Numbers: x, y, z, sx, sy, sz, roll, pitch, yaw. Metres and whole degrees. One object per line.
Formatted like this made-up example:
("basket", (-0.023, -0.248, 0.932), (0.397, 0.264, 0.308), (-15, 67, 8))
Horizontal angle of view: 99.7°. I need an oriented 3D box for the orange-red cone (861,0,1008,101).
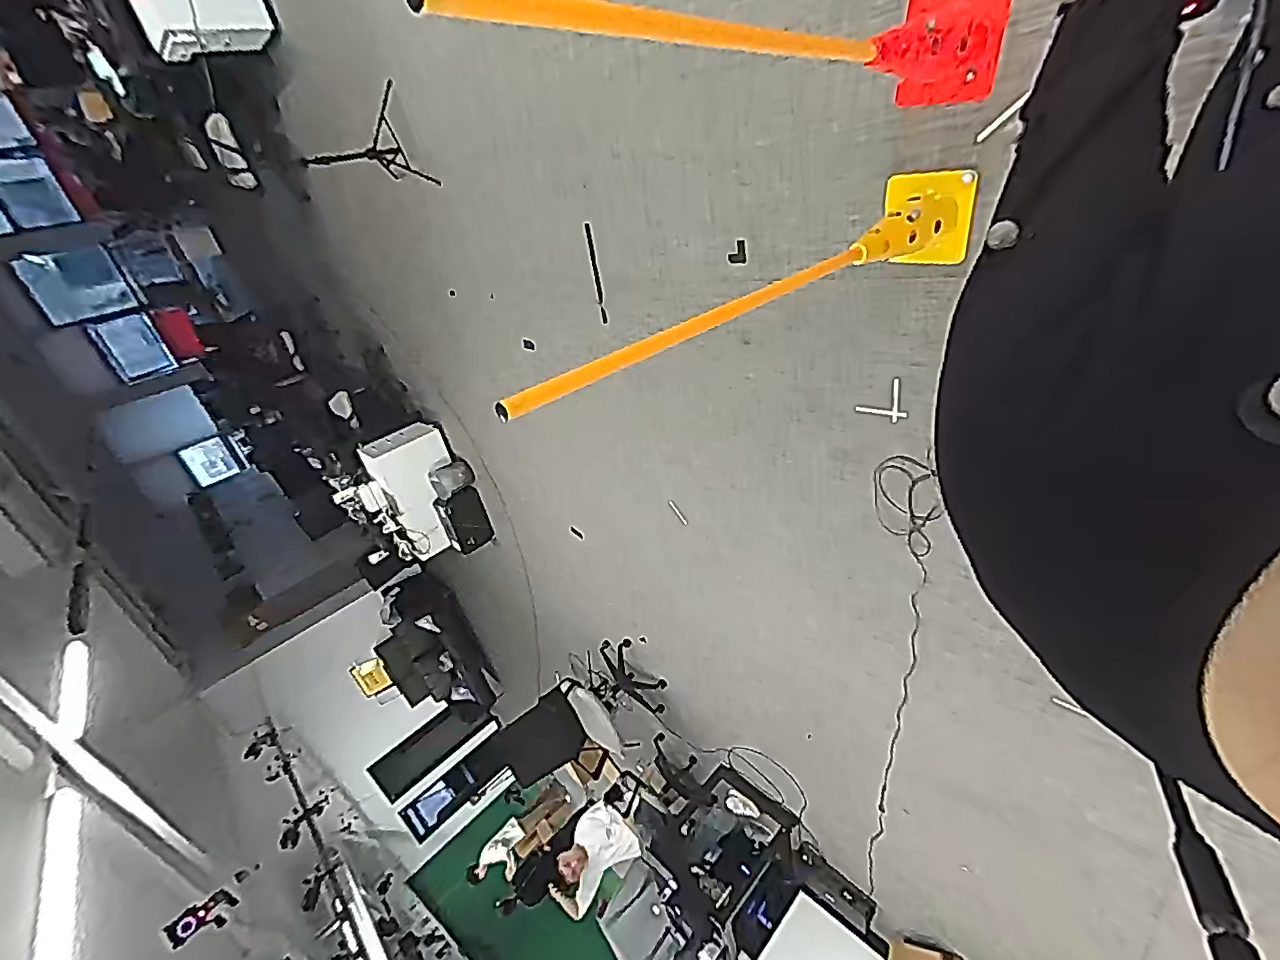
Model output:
("orange-red cone", (0.512, -0.823, 1.016), (0.198, 0.360, 0.199), (26, 135, 37))
